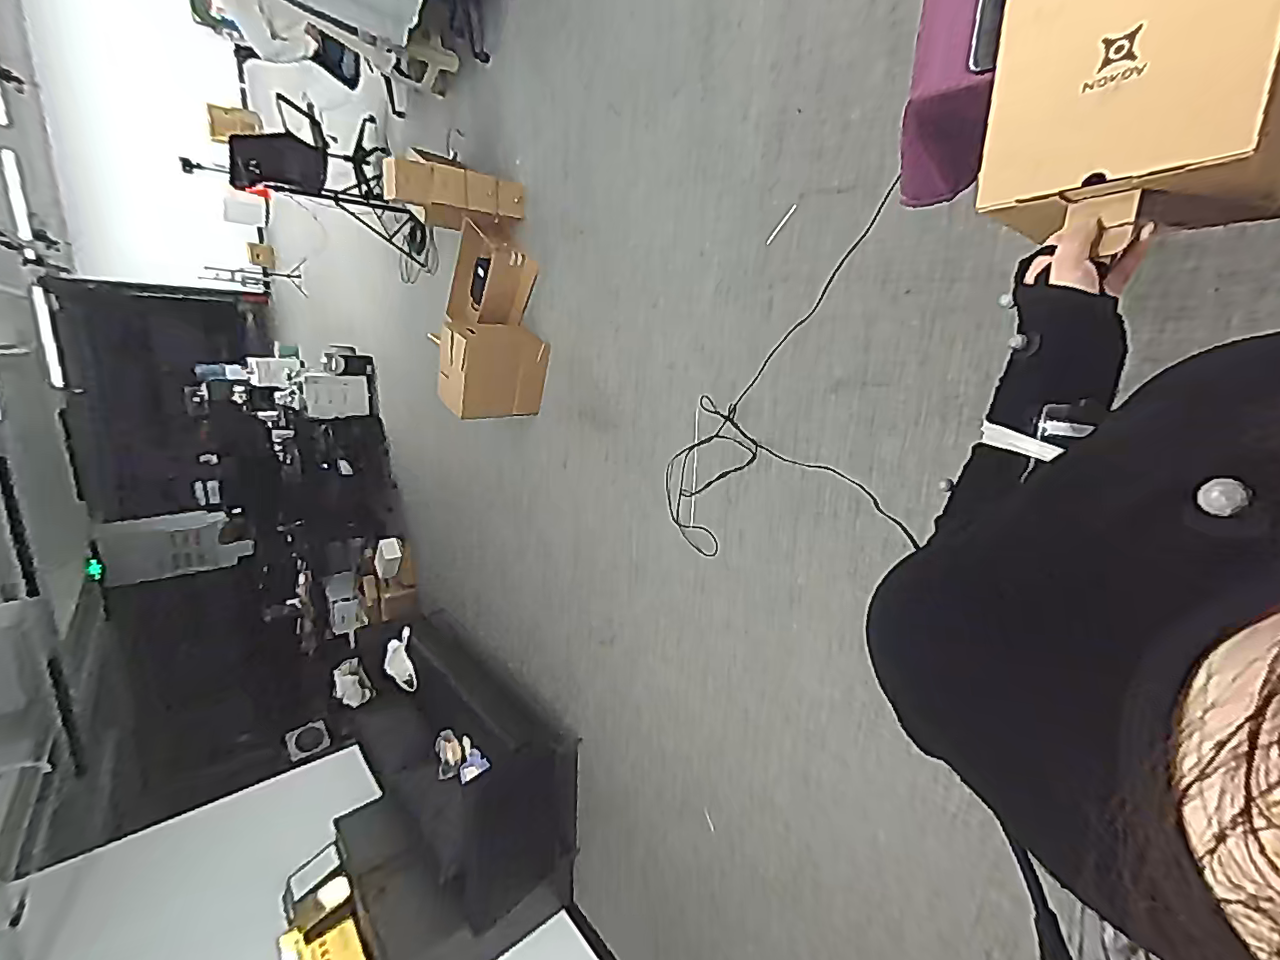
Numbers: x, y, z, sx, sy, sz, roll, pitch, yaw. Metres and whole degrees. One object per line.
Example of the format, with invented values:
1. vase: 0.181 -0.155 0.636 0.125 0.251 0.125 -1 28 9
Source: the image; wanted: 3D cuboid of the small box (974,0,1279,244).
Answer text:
1. small box: 0.406 -0.308 0.436 0.168 0.176 0.179 17 108 52
